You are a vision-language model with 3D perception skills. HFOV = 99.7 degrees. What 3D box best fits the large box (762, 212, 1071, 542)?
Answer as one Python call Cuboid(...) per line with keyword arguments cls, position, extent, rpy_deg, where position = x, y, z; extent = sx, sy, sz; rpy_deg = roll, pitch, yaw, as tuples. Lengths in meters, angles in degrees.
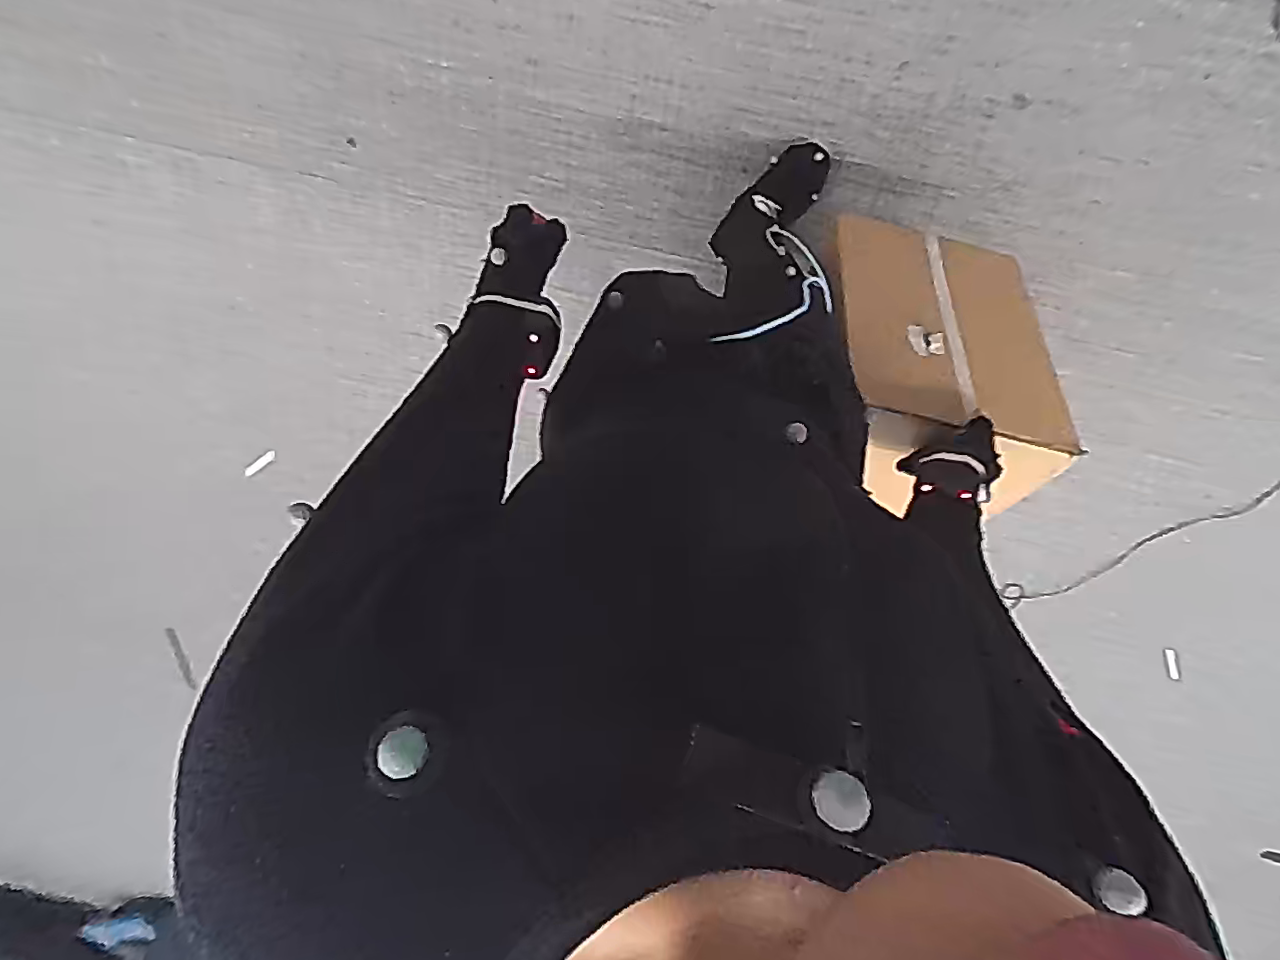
Cuboid(cls="large box", position=(0.407, -0.160, 0.910), extent=(0.320, 0.408, 0.320), rpy_deg=(13, 149, -4))
